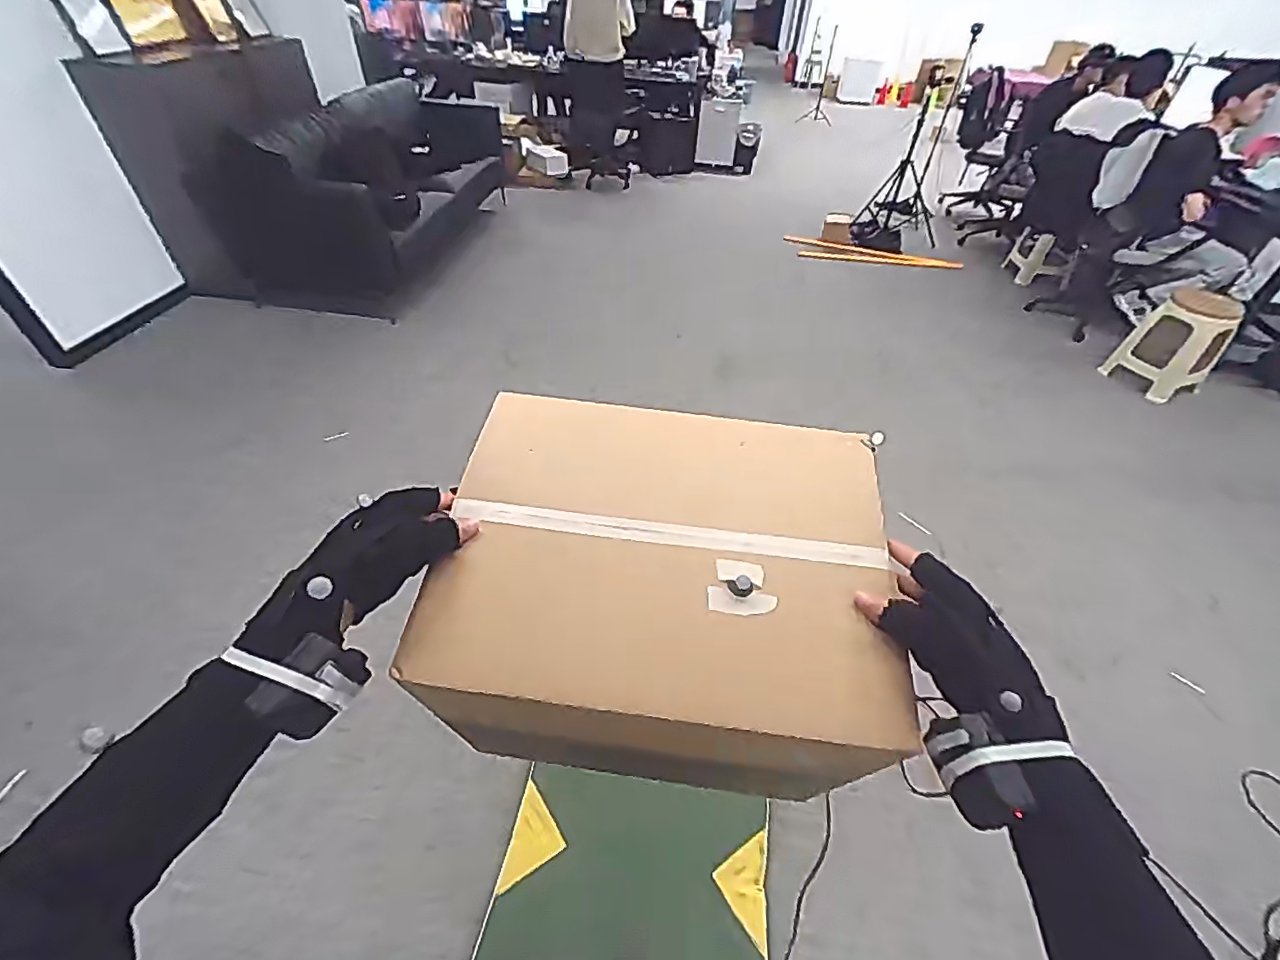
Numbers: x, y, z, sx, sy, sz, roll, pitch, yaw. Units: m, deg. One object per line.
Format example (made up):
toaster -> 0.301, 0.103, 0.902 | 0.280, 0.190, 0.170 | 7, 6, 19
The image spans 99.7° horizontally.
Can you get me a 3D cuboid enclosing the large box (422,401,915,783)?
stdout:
large box -> 0.027, 0.141, 0.633 | 0.408, 0.320, 0.320 | 7, 55, 2
